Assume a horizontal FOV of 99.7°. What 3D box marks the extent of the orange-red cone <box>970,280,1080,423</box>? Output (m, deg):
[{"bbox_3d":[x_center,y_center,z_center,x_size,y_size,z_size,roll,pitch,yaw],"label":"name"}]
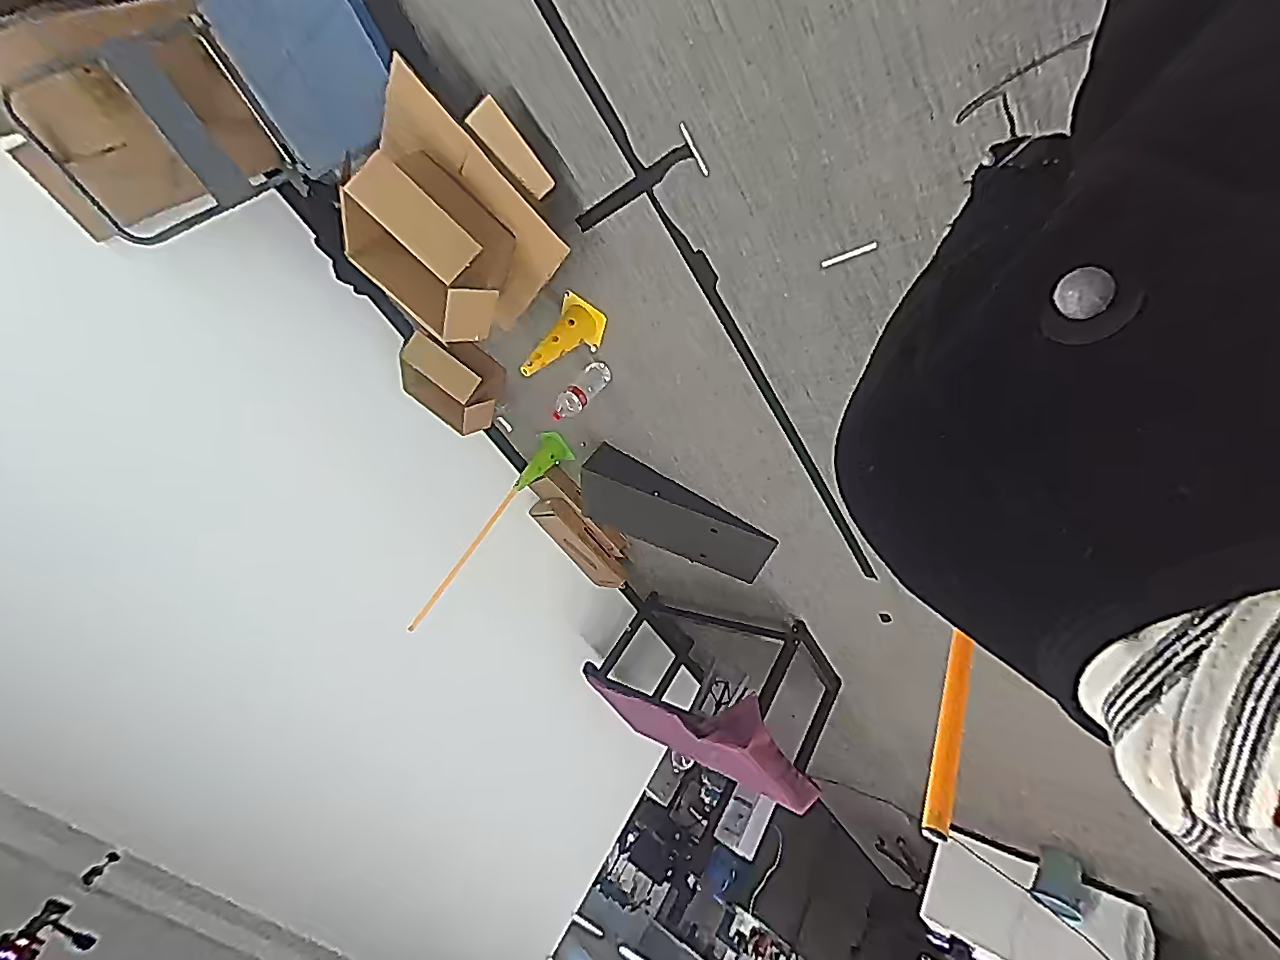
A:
[{"bbox_3d":[0.806,-0.246,1.181,0.199,0.360,0.198,1,133,48],"label":"orange-red cone"}]
